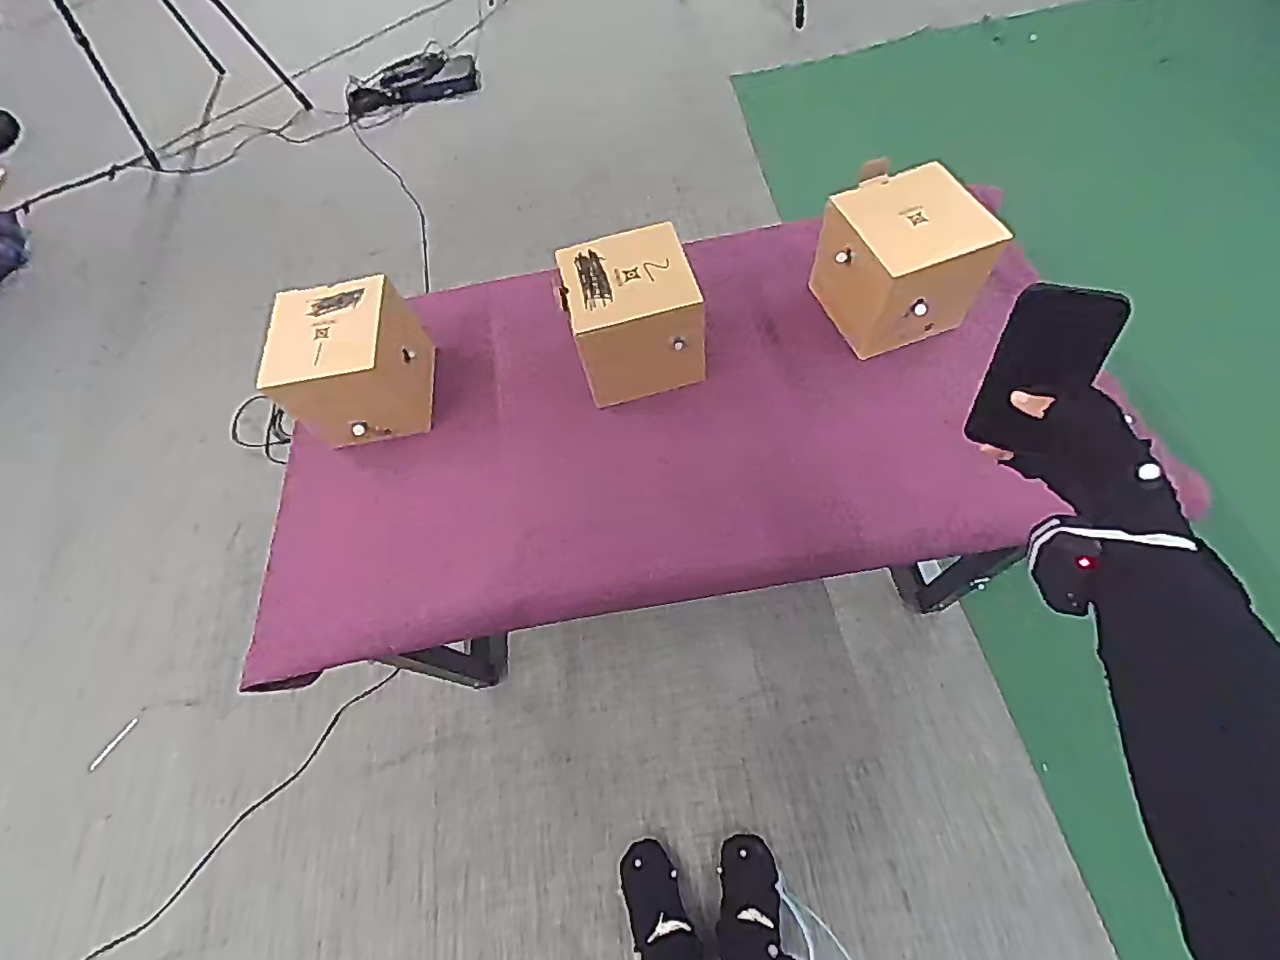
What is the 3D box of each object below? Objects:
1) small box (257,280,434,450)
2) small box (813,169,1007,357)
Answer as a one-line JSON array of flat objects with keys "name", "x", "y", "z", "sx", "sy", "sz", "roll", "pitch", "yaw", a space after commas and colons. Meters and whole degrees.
[{"name": "small box", "x": -0.429, "y": -0.169, "z": 0.821, "sx": 0.168, "sy": 0.176, "sz": 0.179, "roll": -9, "pitch": 64, "yaw": 3}, {"name": "small box", "x": 0.374, "y": -0.303, "z": 0.788, "sx": 0.168, "sy": 0.176, "sz": 0.179, "roll": -20, "pitch": 62, "yaw": -2}]
